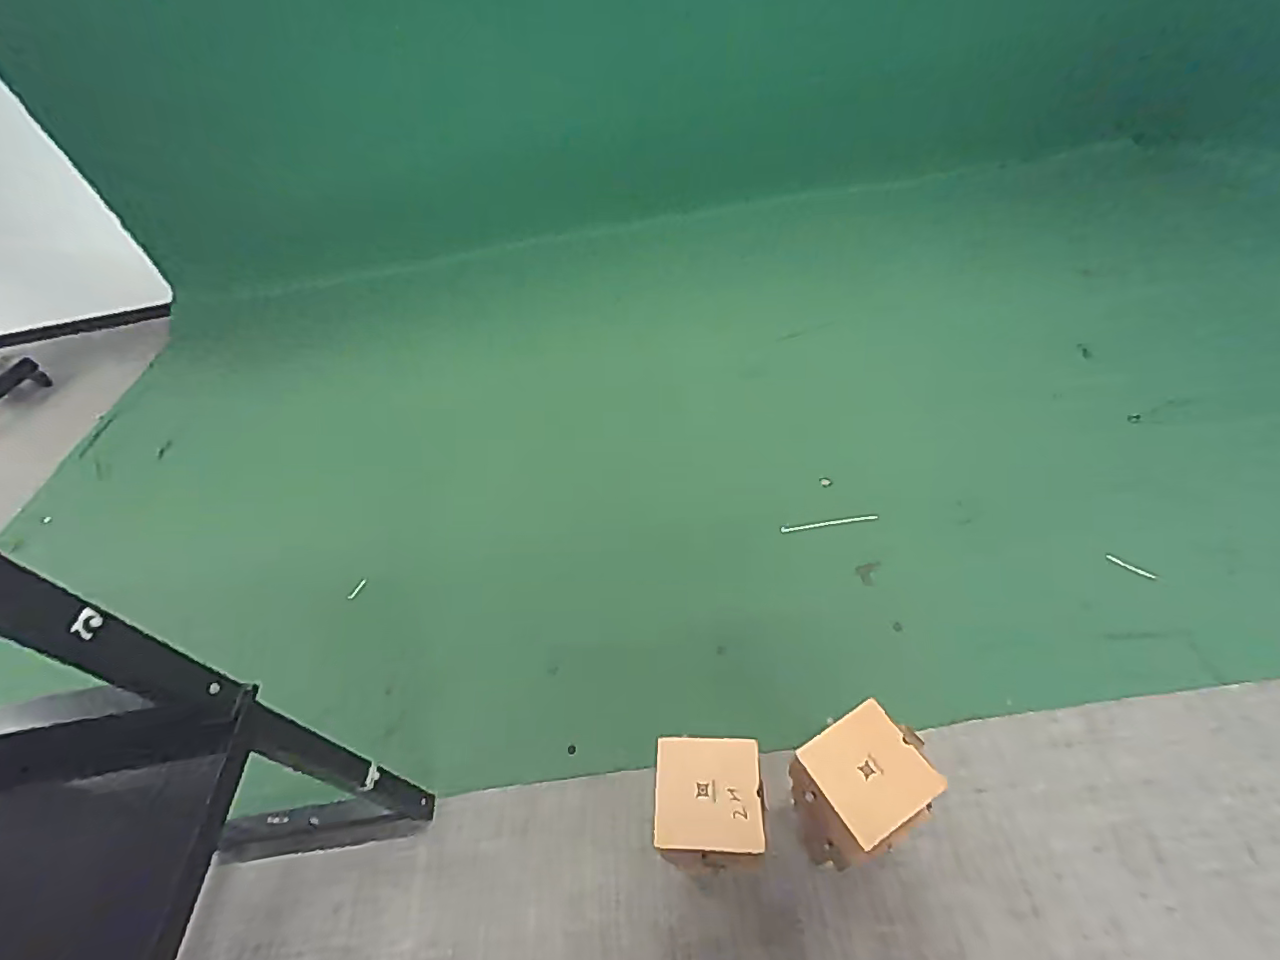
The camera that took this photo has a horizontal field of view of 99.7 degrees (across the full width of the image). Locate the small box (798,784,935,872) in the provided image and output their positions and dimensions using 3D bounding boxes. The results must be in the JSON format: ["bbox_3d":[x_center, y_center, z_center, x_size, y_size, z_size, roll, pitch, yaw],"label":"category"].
[{"bbox_3d":[0.423,0.624,1.046,0.179,0.176,0.168,-24,51,-11],"label":"small box"}]

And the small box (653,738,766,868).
[{"bbox_3d":[0.124,0.560,0.935,0.179,0.176,0.168,-3,49,9],"label":"small box"}]

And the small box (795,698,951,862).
[{"bbox_3d":[0.384,0.518,0.928,0.179,0.176,0.168,-28,51,-14],"label":"small box"}]

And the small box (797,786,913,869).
[{"bbox_3d":[0.452,0.721,1.174,0.179,0.176,0.168,-14,49,-3],"label":"small box"}]
